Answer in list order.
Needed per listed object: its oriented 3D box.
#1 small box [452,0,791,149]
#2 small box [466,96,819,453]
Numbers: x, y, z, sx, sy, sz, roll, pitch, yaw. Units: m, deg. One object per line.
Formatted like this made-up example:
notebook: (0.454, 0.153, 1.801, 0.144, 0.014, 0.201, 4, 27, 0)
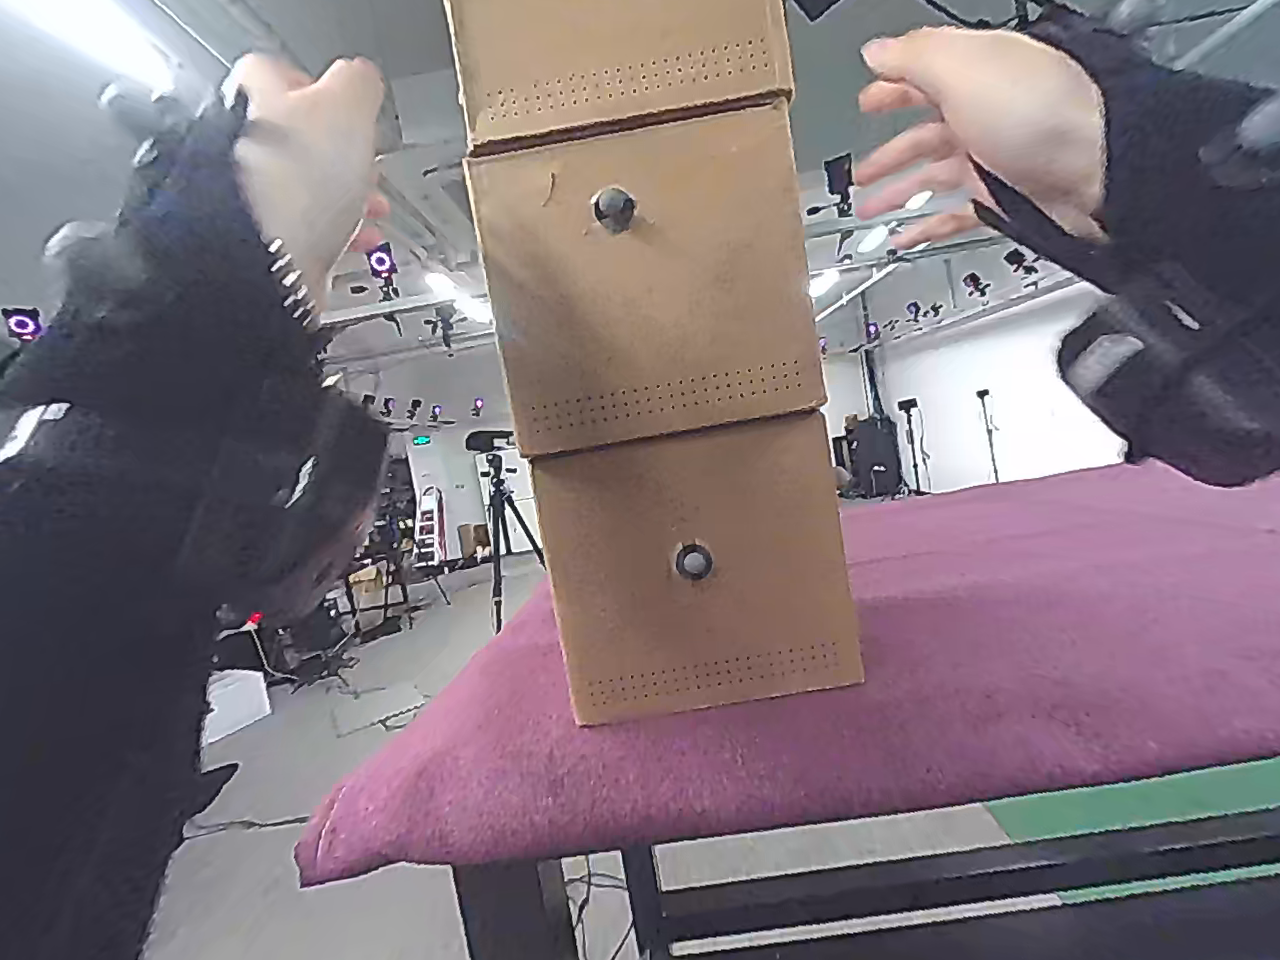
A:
small box: (-0.018, -0.276, 0.356, 0.179, 0.176, 0.168, -10, 5, 1)
small box: (0.005, -0.114, 0.372, 0.179, 0.176, 0.168, -9, 5, 2)
